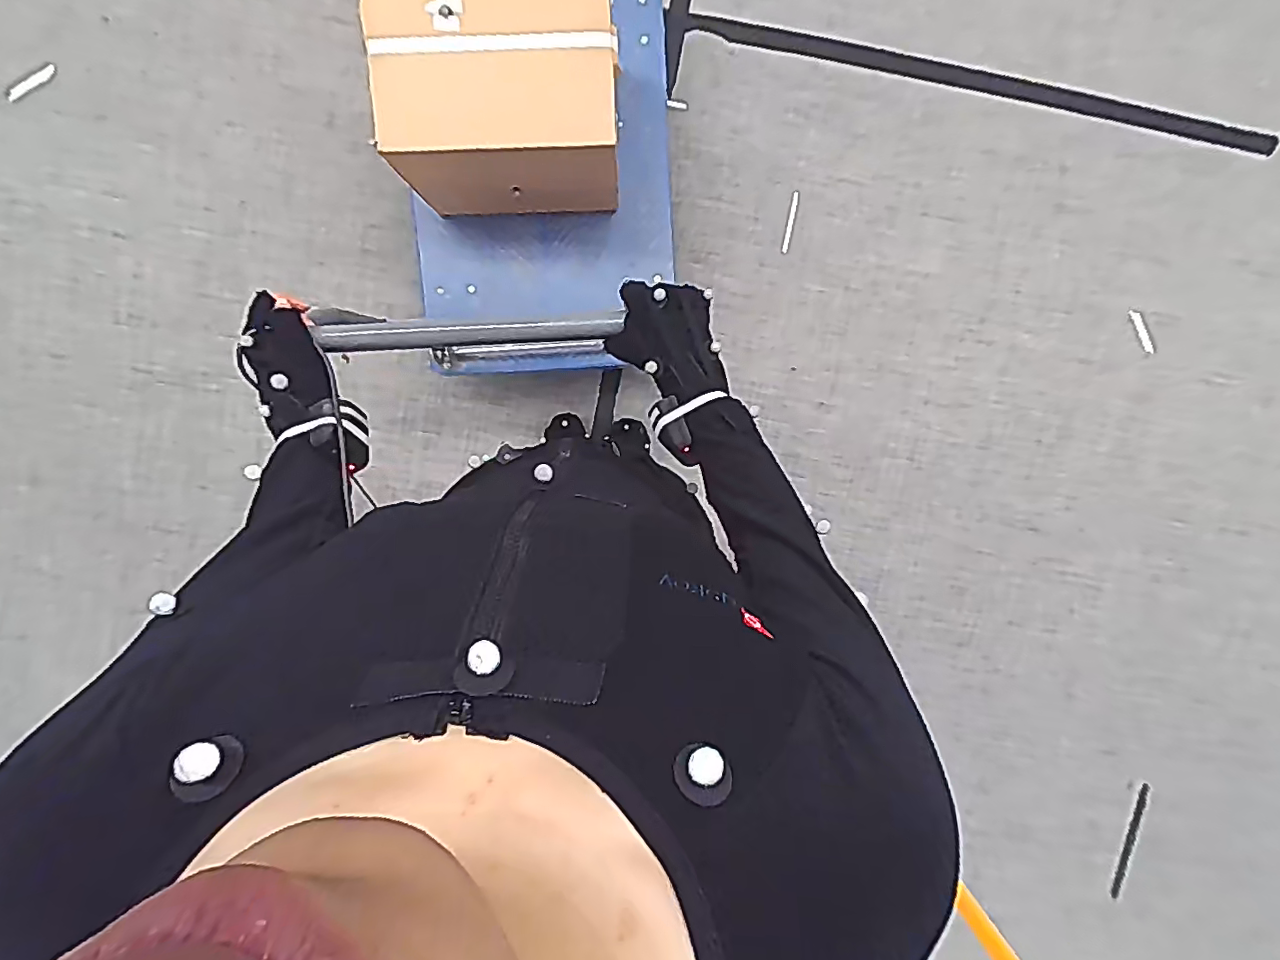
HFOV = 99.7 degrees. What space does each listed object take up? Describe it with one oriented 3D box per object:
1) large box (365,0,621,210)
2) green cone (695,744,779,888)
[{"bbox_3d":[-0.247,-0.736,1.037,0.408,0.320,0.320,-2,98,-1],"label":"large box"},{"bbox_3d":[0.287,0.908,1.430,0.202,0.368,0.200,14,97,-5],"label":"green cone"}]
